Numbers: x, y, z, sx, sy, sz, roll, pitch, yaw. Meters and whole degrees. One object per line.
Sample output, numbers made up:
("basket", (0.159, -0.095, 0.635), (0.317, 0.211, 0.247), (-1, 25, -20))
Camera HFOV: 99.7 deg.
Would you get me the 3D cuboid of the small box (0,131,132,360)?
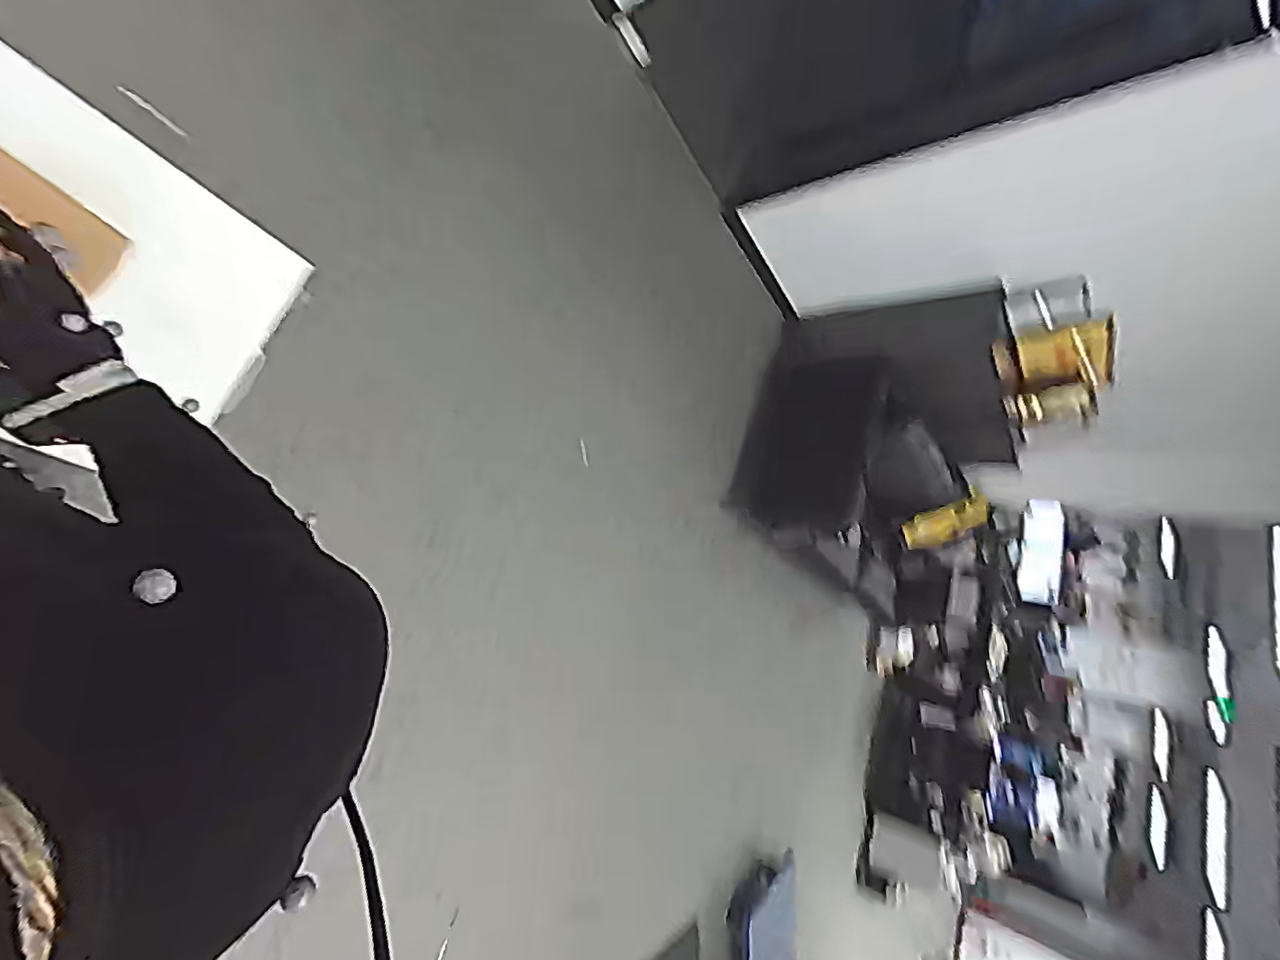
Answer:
("small box", (-0.666, -0.236, 0.529), (0.168, 0.176, 0.179), (46, 59, -41))
